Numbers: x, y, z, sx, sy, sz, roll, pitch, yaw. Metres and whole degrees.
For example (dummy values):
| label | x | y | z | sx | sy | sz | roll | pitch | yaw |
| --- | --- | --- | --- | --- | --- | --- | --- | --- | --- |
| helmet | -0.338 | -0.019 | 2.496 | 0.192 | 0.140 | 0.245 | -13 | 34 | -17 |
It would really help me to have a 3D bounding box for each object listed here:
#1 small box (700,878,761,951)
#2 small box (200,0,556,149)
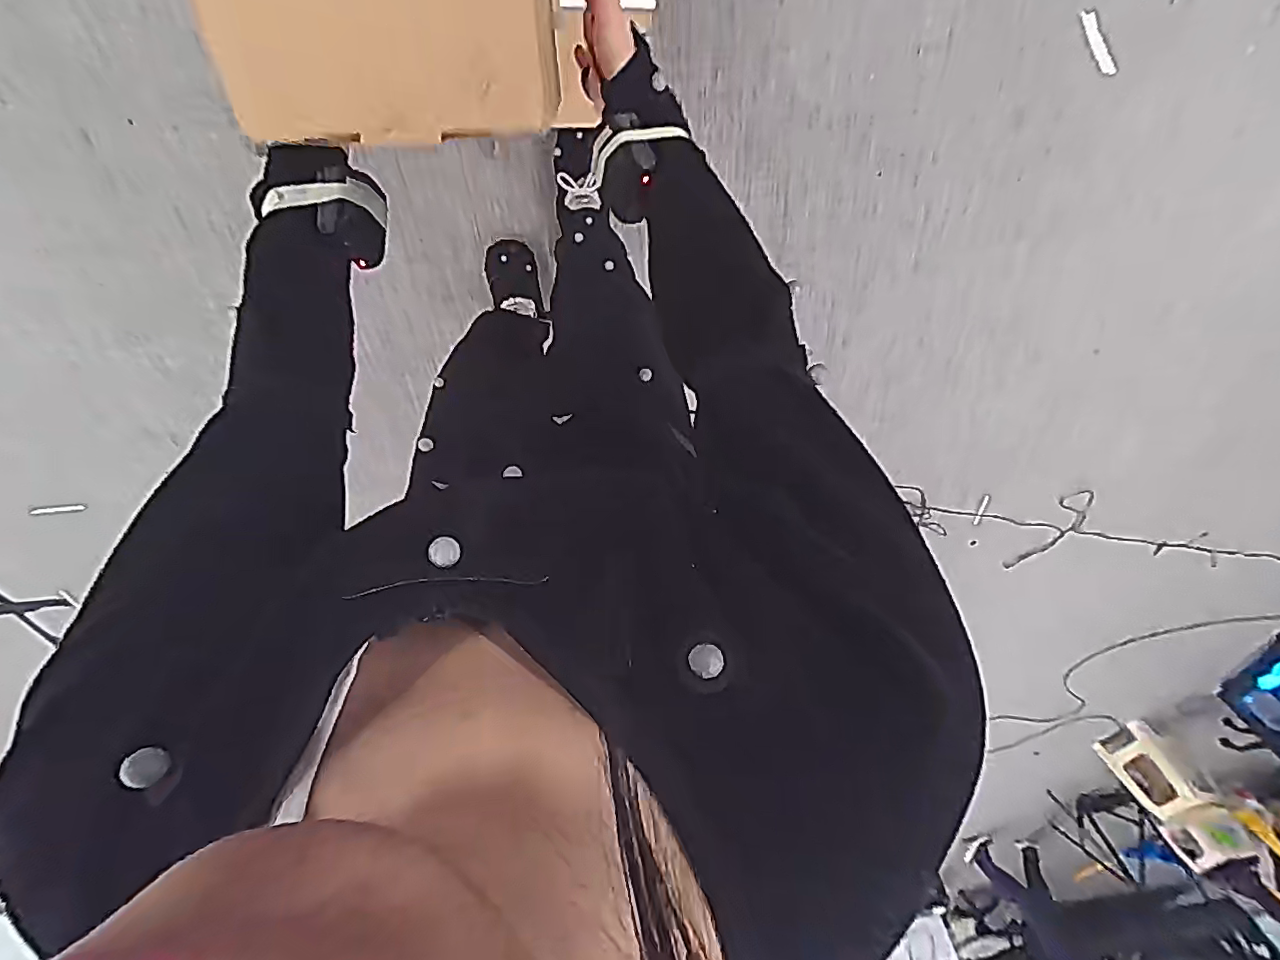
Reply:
| label | x | y | z | sx | sy | sz | roll | pitch | yaw |
| --- | --- | --- | --- | --- | --- | --- | --- | --- | --- |
| small box | 0.320 | 1.562 | 1.948 | 0.179 | 0.176 | 0.168 | -3 | 127 | -3 |
| small box | -0.140 | -0.307 | 0.315 | 0.168 | 0.176 | 0.179 | -5 | 127 | -4 |
